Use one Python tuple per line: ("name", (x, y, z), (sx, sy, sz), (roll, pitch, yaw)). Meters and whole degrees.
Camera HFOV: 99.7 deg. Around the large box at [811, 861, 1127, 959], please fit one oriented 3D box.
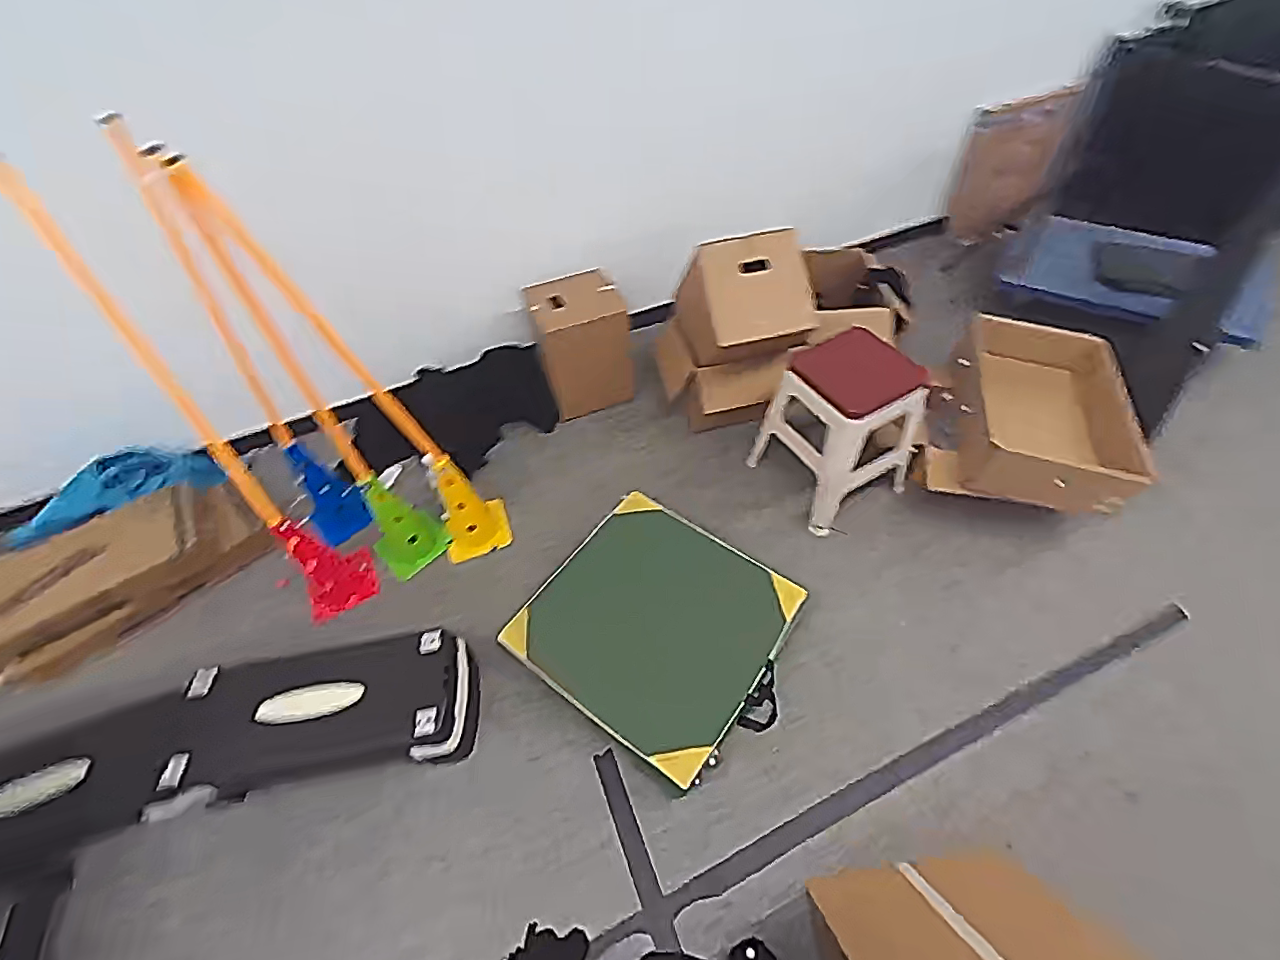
("large box", (0.437, 0.729, 0.622), (0.320, 0.408, 0.320), (-9, 81, -2))
